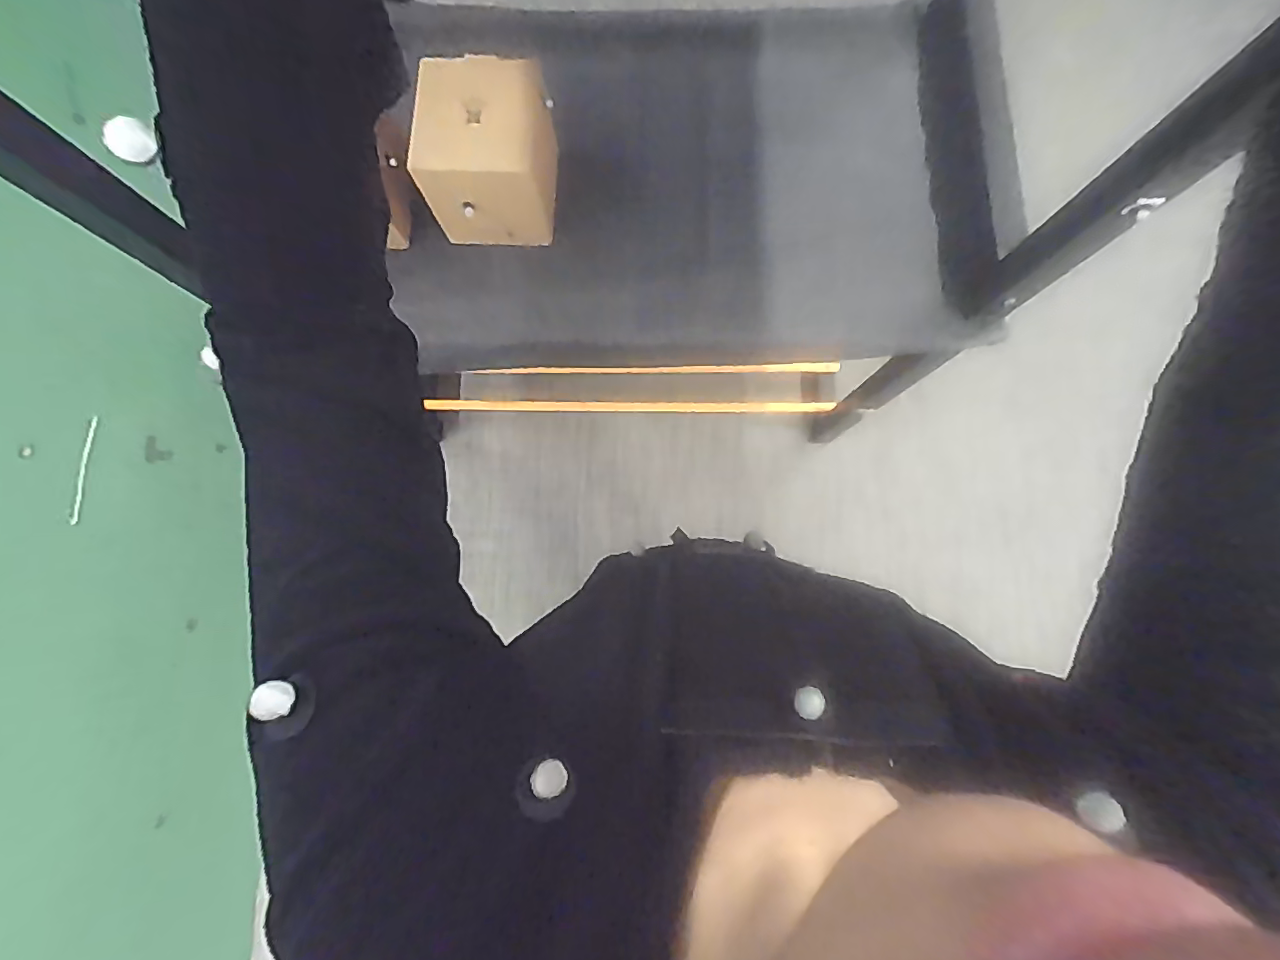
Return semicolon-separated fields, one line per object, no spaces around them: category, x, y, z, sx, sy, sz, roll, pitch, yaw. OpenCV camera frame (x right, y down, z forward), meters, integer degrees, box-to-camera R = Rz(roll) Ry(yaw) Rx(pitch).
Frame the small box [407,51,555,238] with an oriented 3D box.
small box;-0.222;-0.483;0.800;0.168;0.176;0.179;2;80;0
